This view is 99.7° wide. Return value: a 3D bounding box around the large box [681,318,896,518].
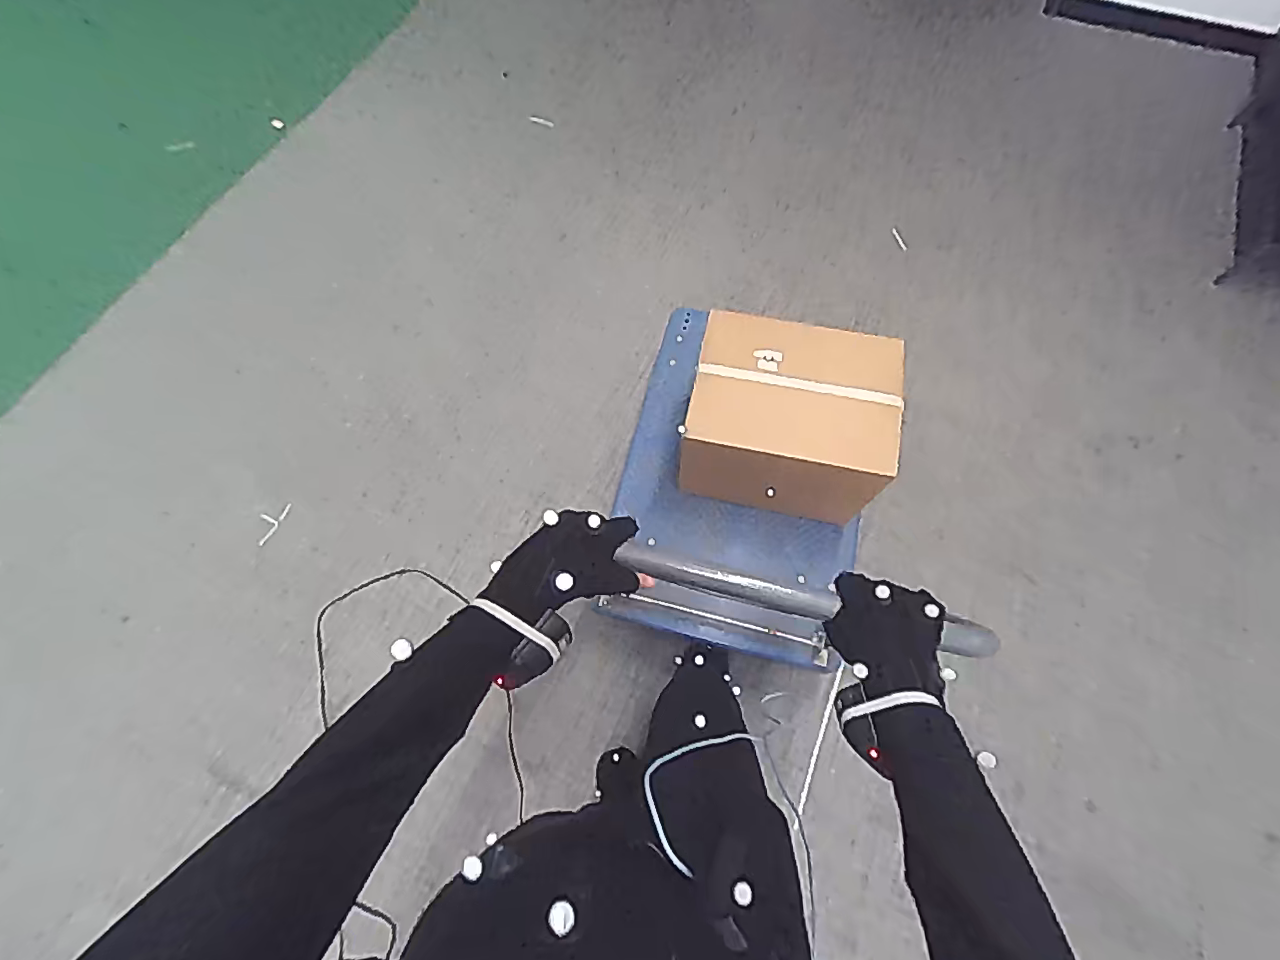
[{"bbox_3d":[0.317,-0.126,1.227,0.408,0.320,0.320,10,69,7],"label":"large box"}]
